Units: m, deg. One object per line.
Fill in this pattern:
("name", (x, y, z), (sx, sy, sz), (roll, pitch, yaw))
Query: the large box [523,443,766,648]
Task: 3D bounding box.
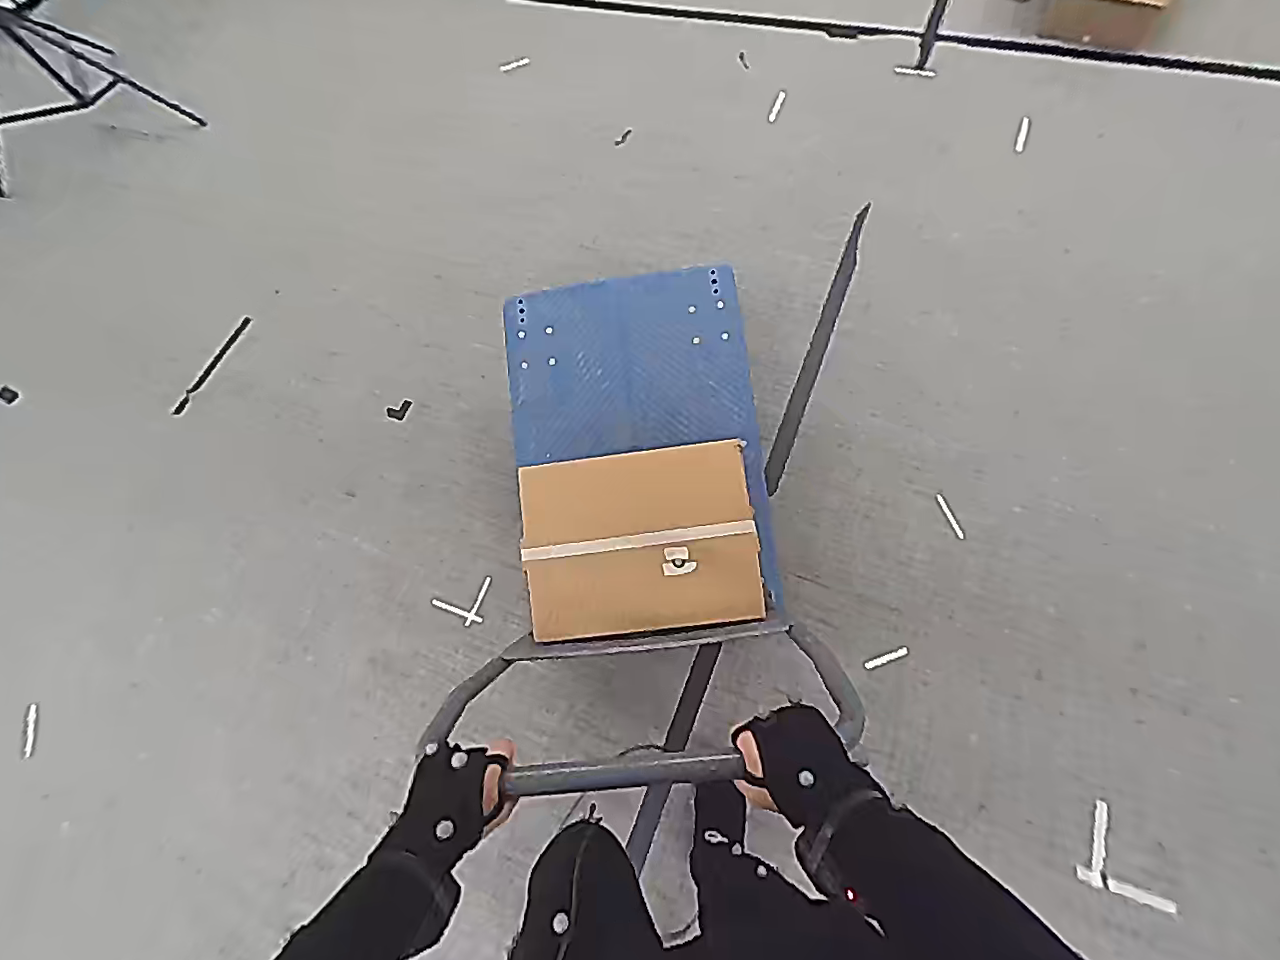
("large box", (0.009, 0.135, 1.111), (0.408, 0.320, 0.320), (-9, 83, 2))
